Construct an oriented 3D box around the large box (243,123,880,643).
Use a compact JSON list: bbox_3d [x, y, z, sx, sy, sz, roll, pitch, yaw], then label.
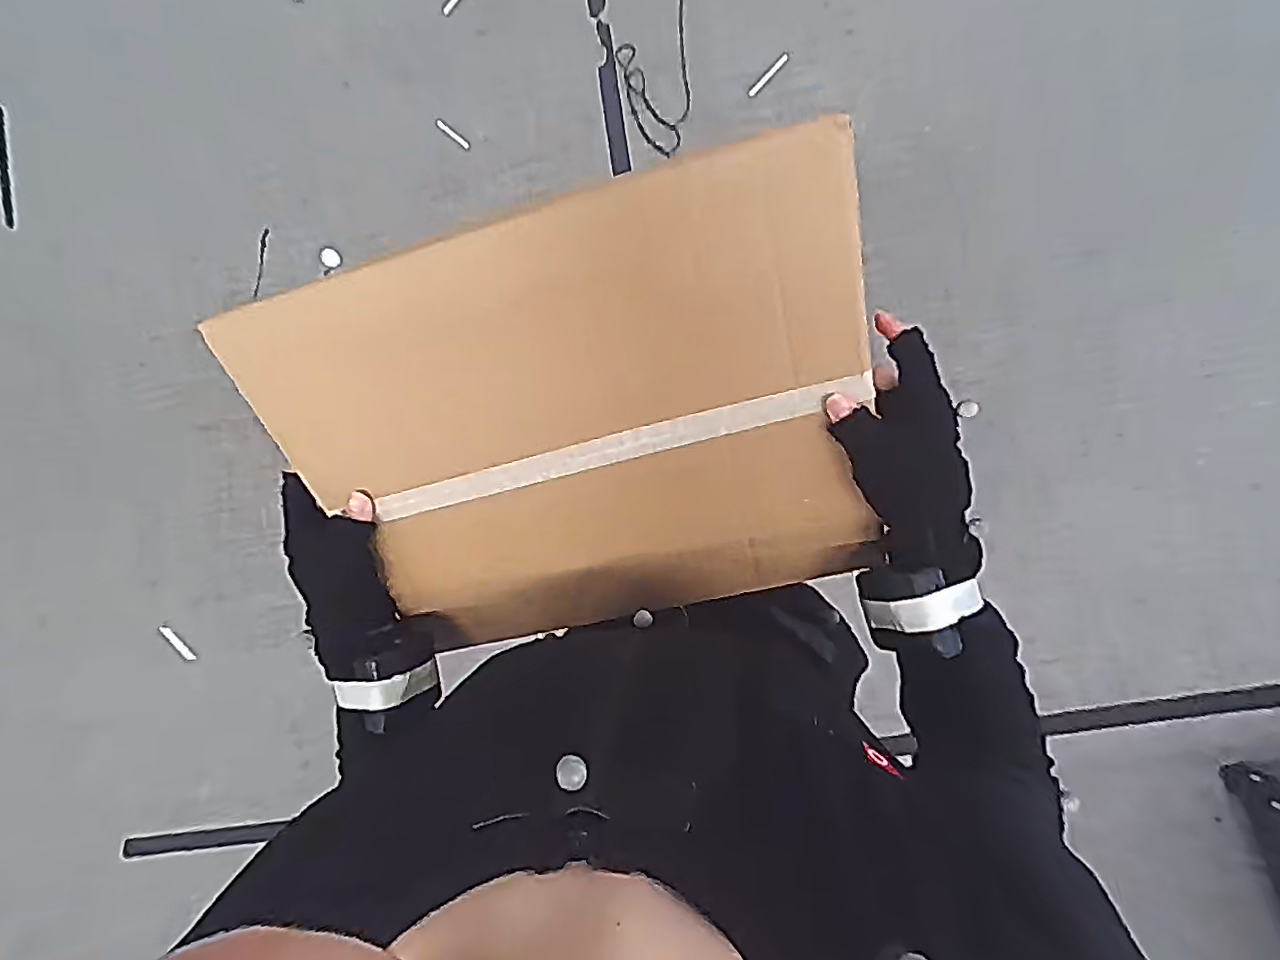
[{"bbox_3d":[-0.035,-0.094,0.527,0.408,0.320,0.320,-13,120,9],"label":"large box"}]
